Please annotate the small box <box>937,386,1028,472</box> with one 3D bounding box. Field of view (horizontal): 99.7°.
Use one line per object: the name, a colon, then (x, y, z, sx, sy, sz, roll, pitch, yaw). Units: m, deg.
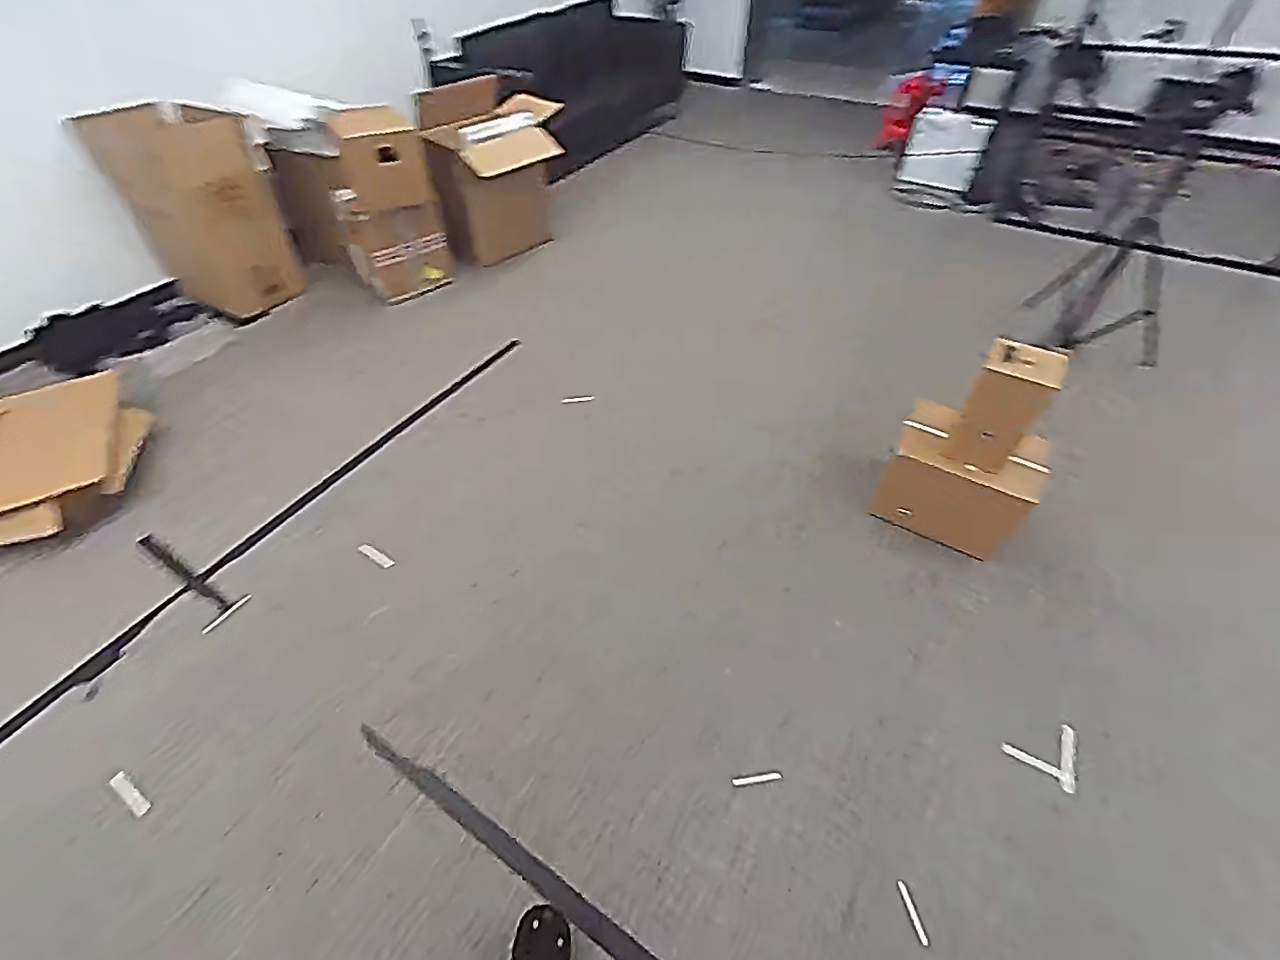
small box: (1.027, -0.151, 1.632, 0.179, 0.176, 0.168, 23, 54, 20)
